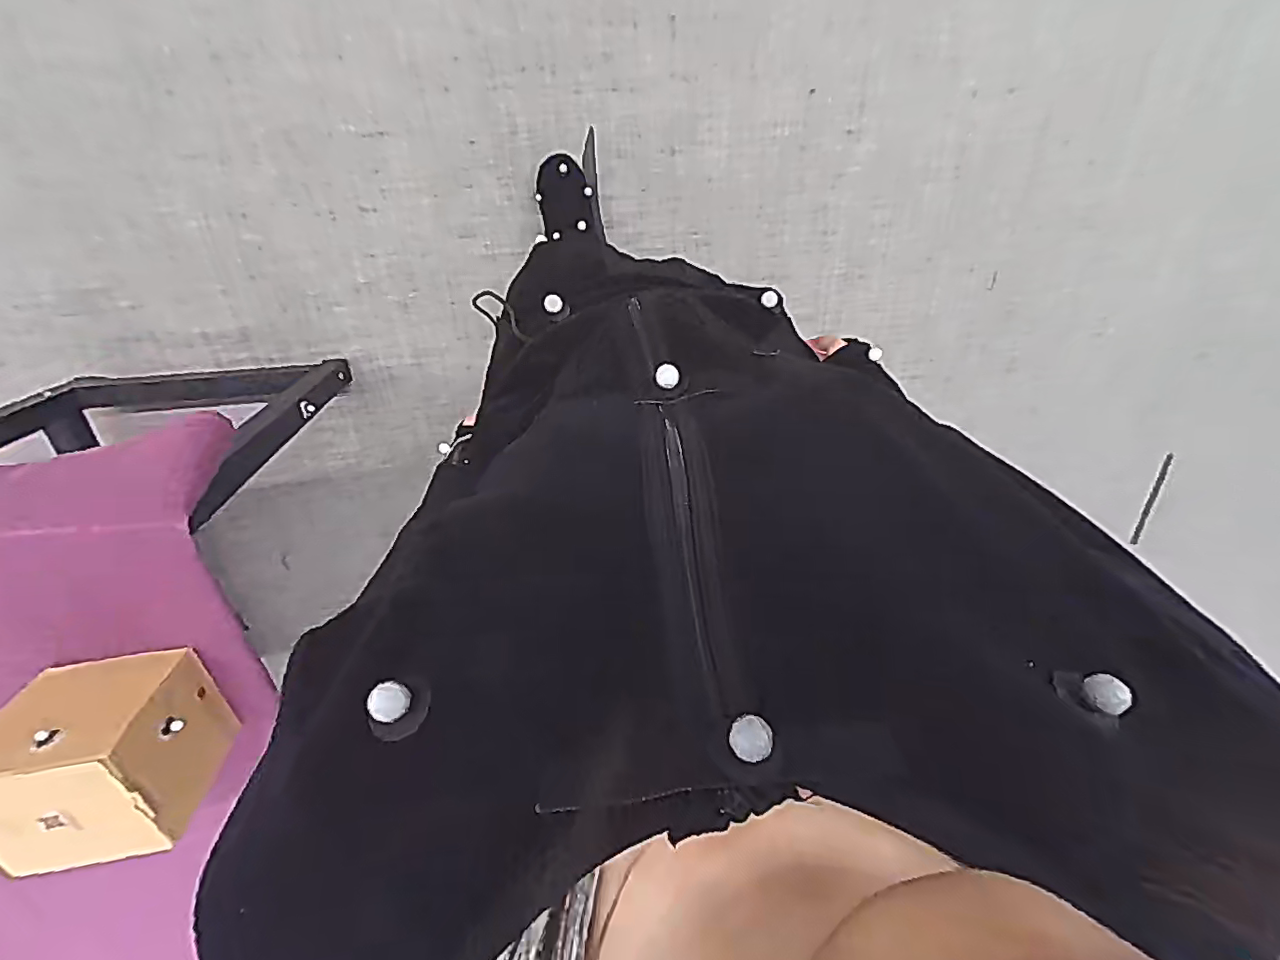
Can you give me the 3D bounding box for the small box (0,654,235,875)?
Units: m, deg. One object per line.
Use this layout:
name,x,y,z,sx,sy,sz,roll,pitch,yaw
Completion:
small box,-0.643,0.337,0.664,0.179,0.176,0.168,-7,118,-5
